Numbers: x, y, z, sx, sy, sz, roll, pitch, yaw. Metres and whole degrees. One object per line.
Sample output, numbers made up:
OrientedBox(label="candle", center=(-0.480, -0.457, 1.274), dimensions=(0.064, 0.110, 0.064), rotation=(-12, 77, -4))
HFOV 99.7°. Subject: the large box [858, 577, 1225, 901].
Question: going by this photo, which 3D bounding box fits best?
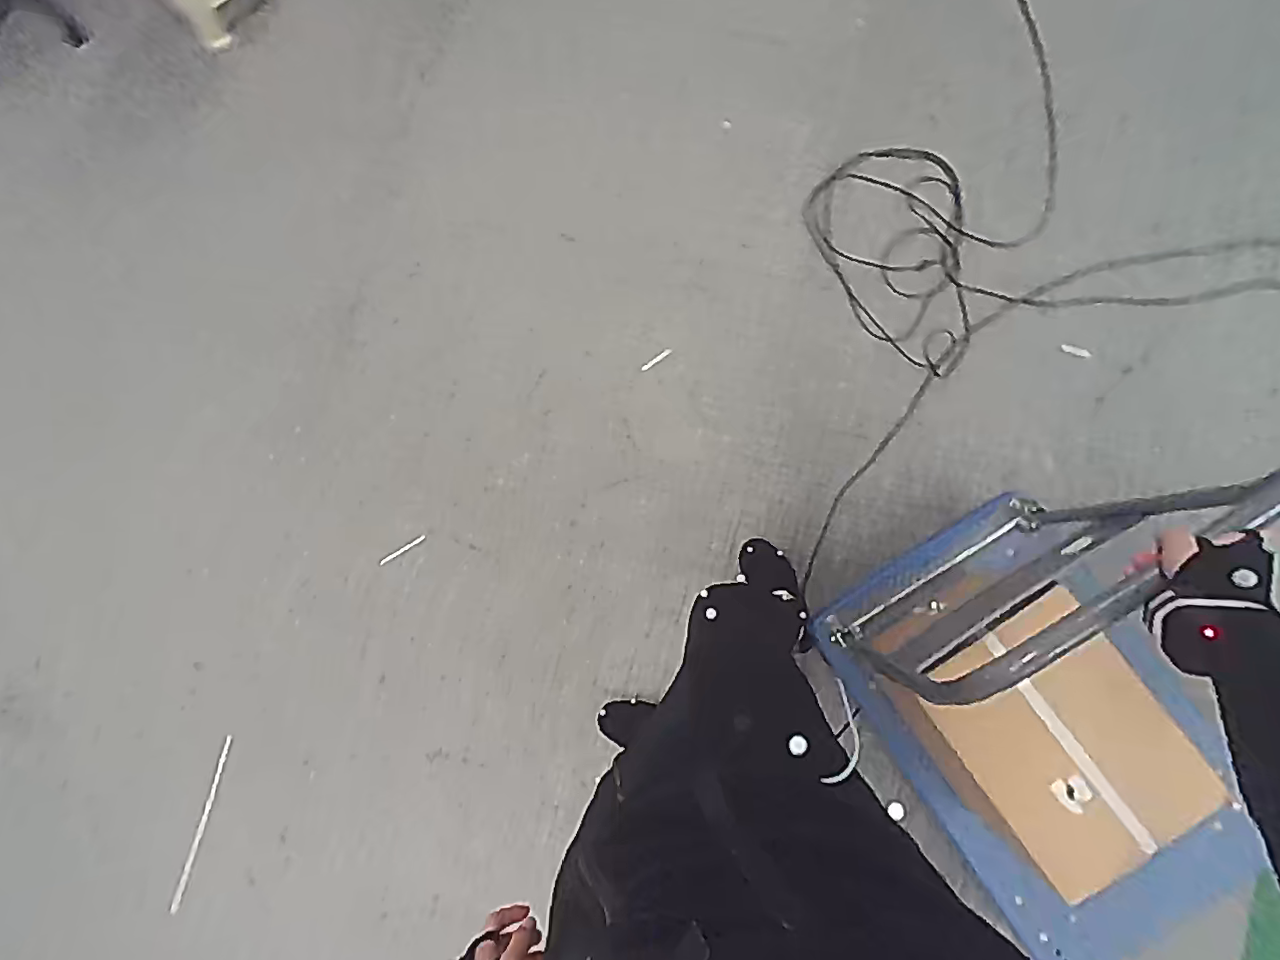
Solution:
OrientedBox(label="large box", center=(0.701, 0.440, 1.028), dimensions=(0.320, 0.320, 0.408), rotation=(-35, 82, 1))
